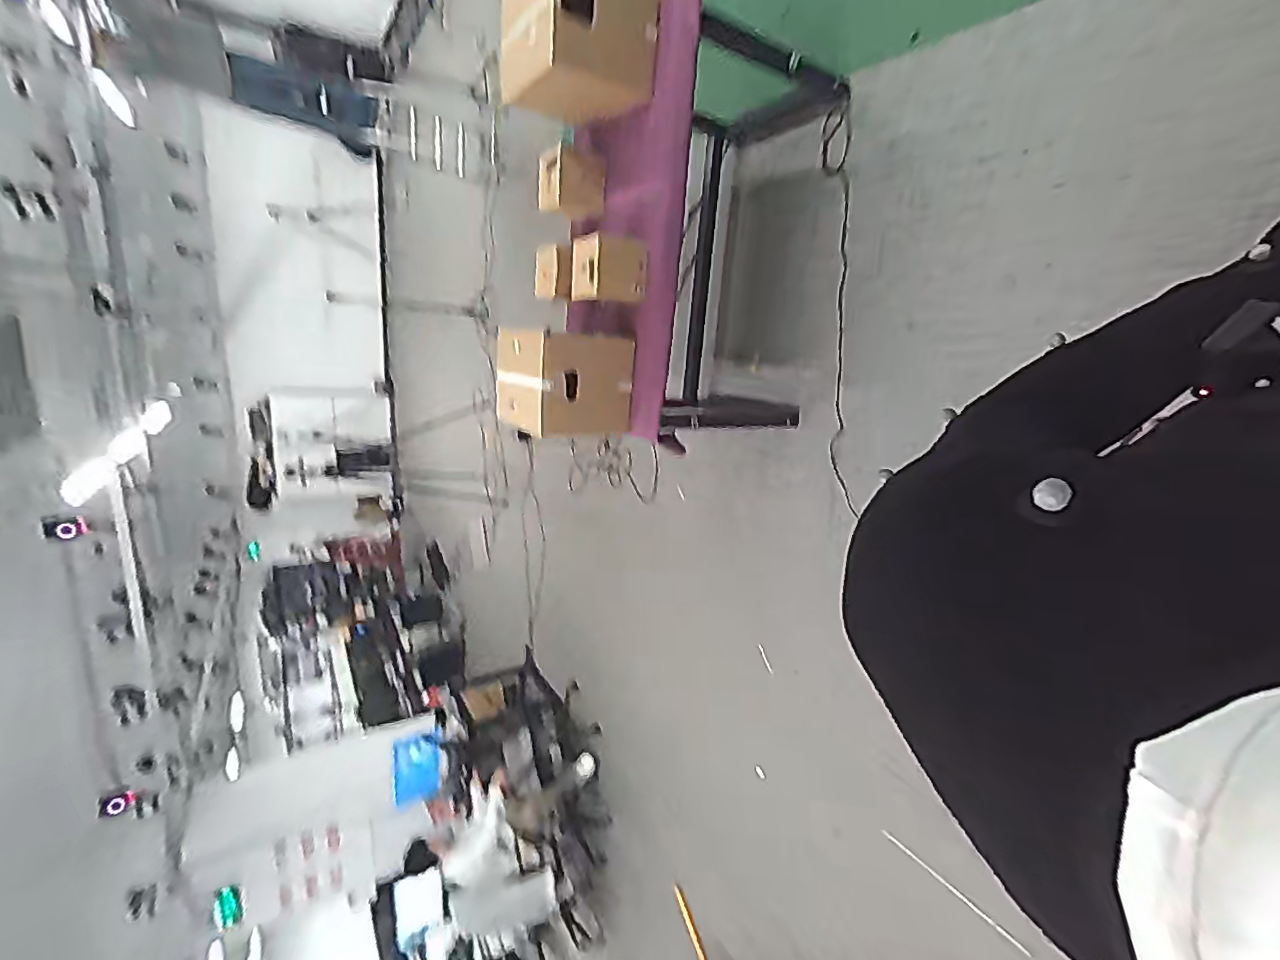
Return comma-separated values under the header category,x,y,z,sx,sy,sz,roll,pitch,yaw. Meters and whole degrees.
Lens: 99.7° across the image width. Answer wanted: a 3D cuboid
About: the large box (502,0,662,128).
category,x,y,z,sx,sy,sz,roll,pitch,yaw
large box,-0.179,-1.283,1.570,0.408,0.320,0.320,27,117,52
